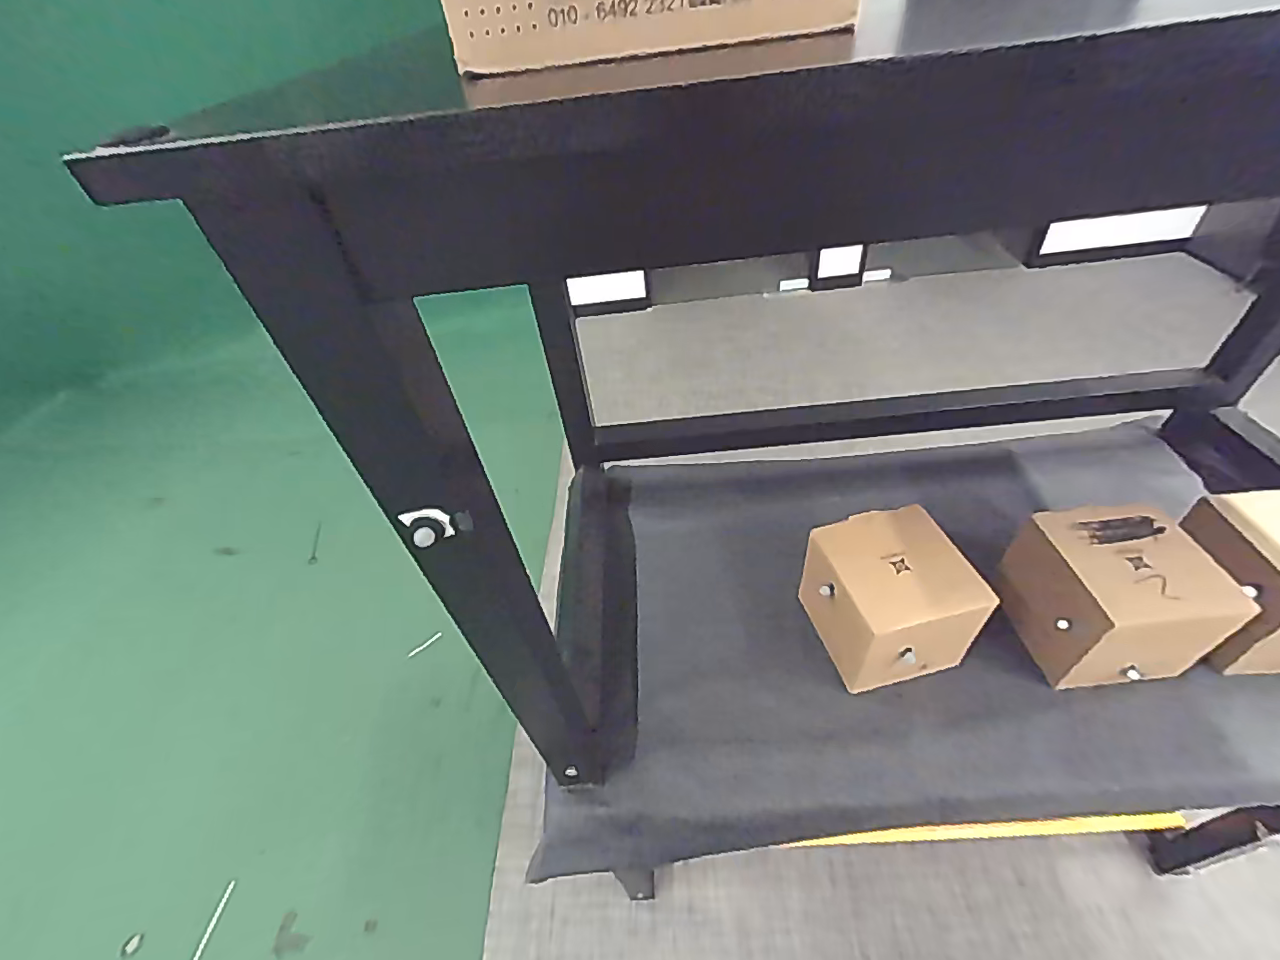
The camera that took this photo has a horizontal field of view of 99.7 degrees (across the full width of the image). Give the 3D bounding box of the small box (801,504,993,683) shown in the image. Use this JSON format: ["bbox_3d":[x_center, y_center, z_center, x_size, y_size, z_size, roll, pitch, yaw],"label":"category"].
[{"bbox_3d":[0.344,0.166,0.764,0.168,0.176,0.179,-13,44,-5],"label":"small box"}]

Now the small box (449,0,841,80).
[{"bbox_3d":[-0.006,-0.289,0.230,0.168,0.176,0.179,-5,45,4],"label":"small box"}]
